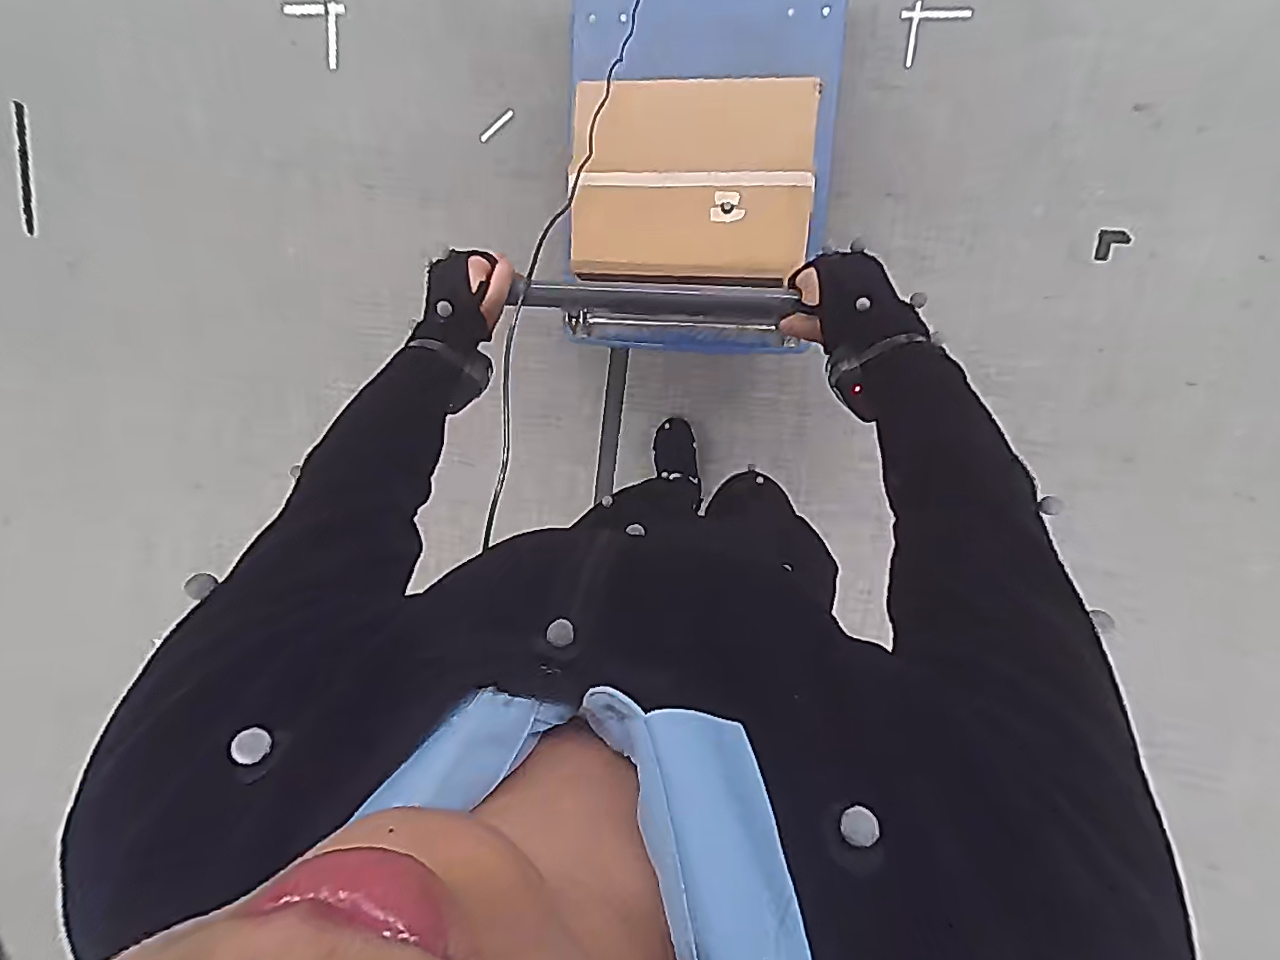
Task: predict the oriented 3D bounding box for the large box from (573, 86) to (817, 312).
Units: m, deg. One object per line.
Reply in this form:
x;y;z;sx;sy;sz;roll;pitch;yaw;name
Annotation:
0.099;-0.517;1.060;0.408;0.320;0.320;4;99;6;large box
